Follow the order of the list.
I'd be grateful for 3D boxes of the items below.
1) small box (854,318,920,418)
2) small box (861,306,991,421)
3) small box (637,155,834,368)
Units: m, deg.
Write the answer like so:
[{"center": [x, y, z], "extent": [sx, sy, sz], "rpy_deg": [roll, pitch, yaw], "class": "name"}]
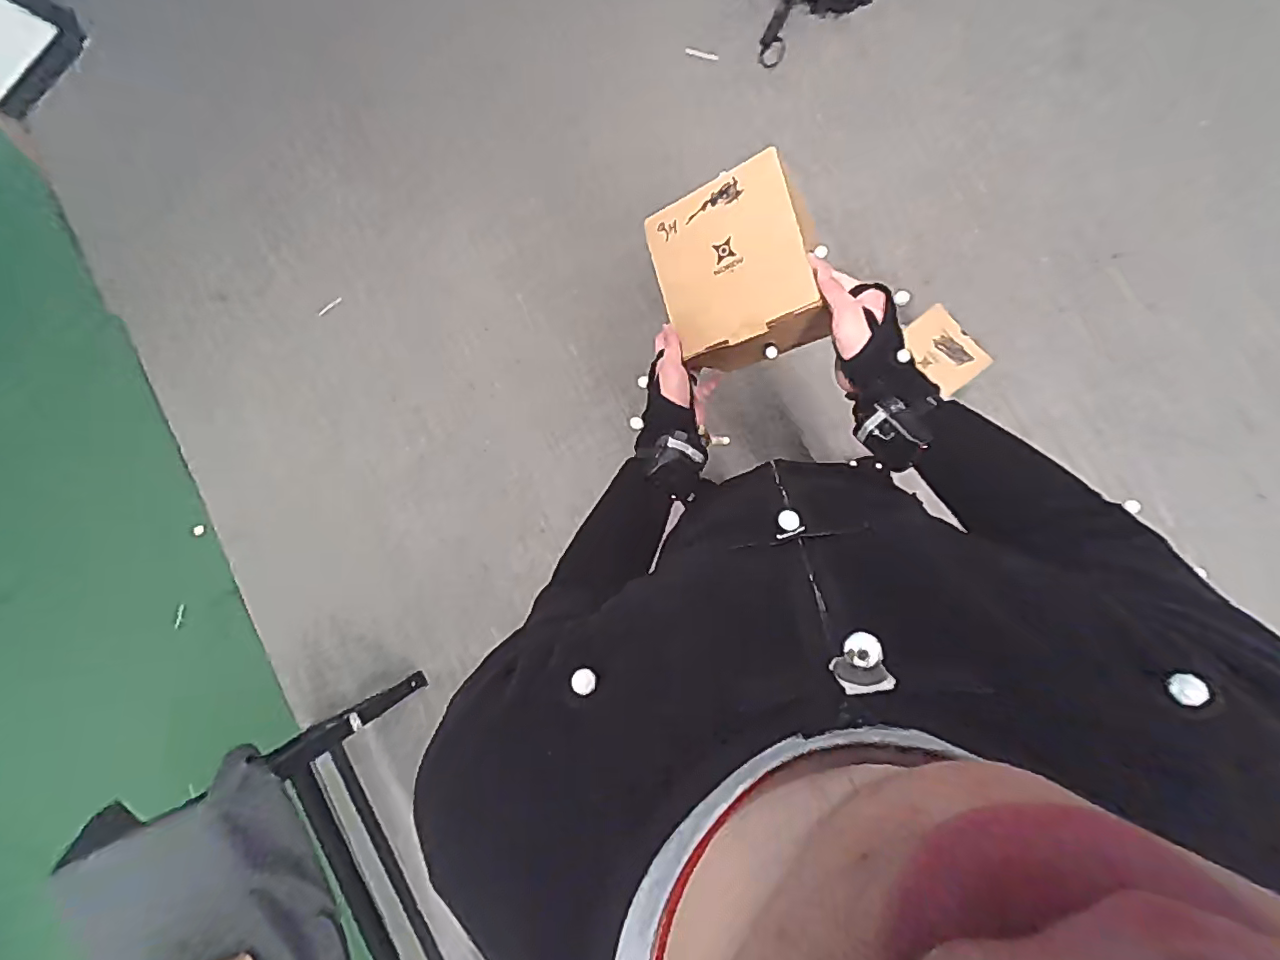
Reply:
[{"center": [0.654, -0.267, 1.342], "extent": [0.179, 0.176, 0.168], "rpy_deg": [-40, 84, 13], "class": "small box"}, {"center": [0.612, -0.247, 1.184], "extent": [0.179, 0.176, 0.168], "rpy_deg": [-39, 84, 16], "class": "small box"}, {"center": [0.125, -0.244, 0.662], "extent": [0.168, 0.176, 0.179], "rpy_deg": [-17, 88, 29], "class": "small box"}]
